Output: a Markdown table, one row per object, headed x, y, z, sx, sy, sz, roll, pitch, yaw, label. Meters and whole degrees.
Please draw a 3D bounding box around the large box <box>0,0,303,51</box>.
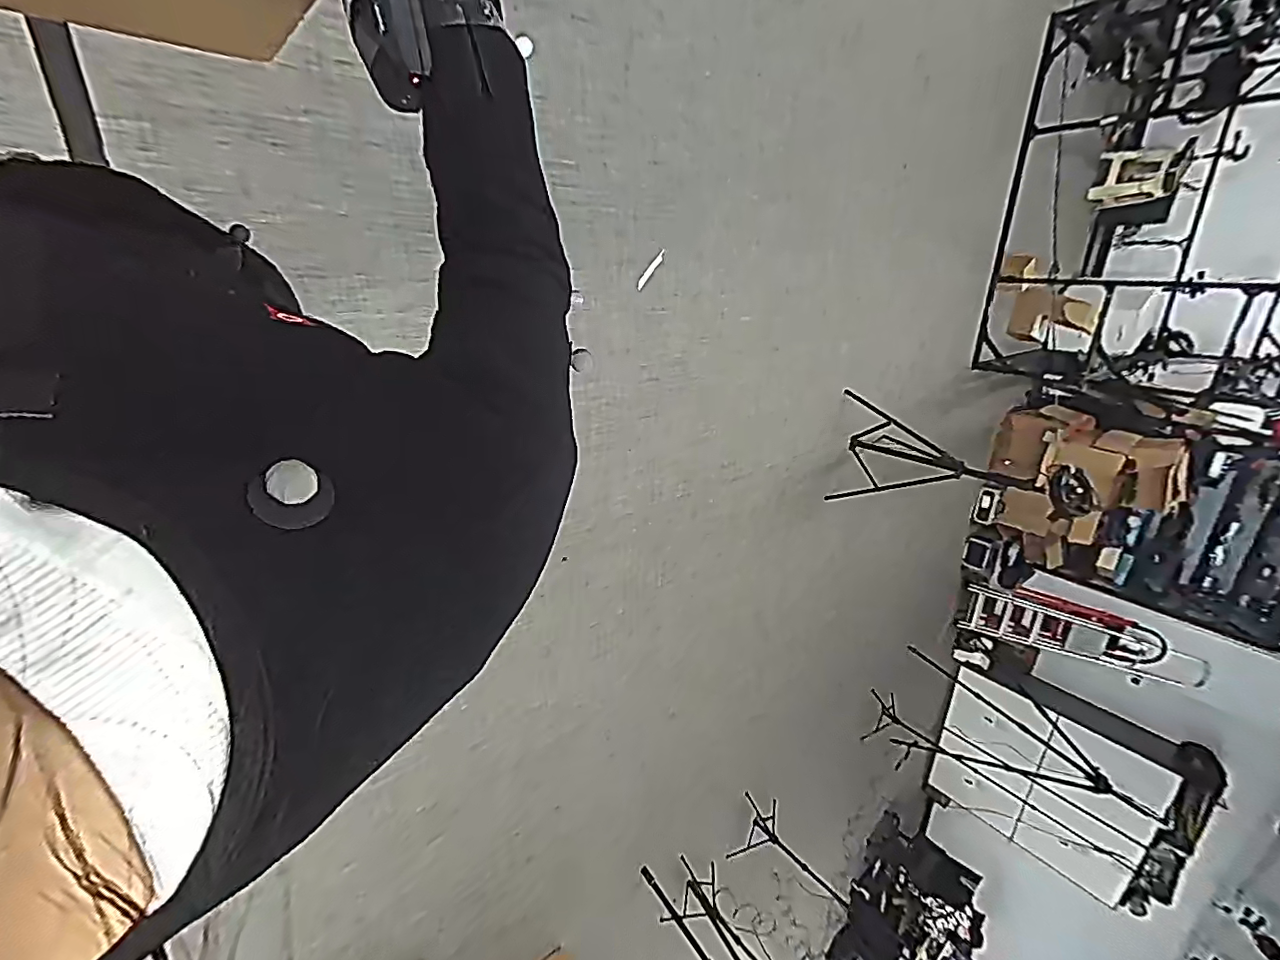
| x | y | z | sx | sy | sz | roll | pitch | yaw | label |
| --- | --- | --- | --- | --- | --- | --- | --- | --- | --- |
| -0.405 | -0.443 | 0.230 | 0.408 | 0.320 | 0.320 | -17 | 122 | -37 | large box |
